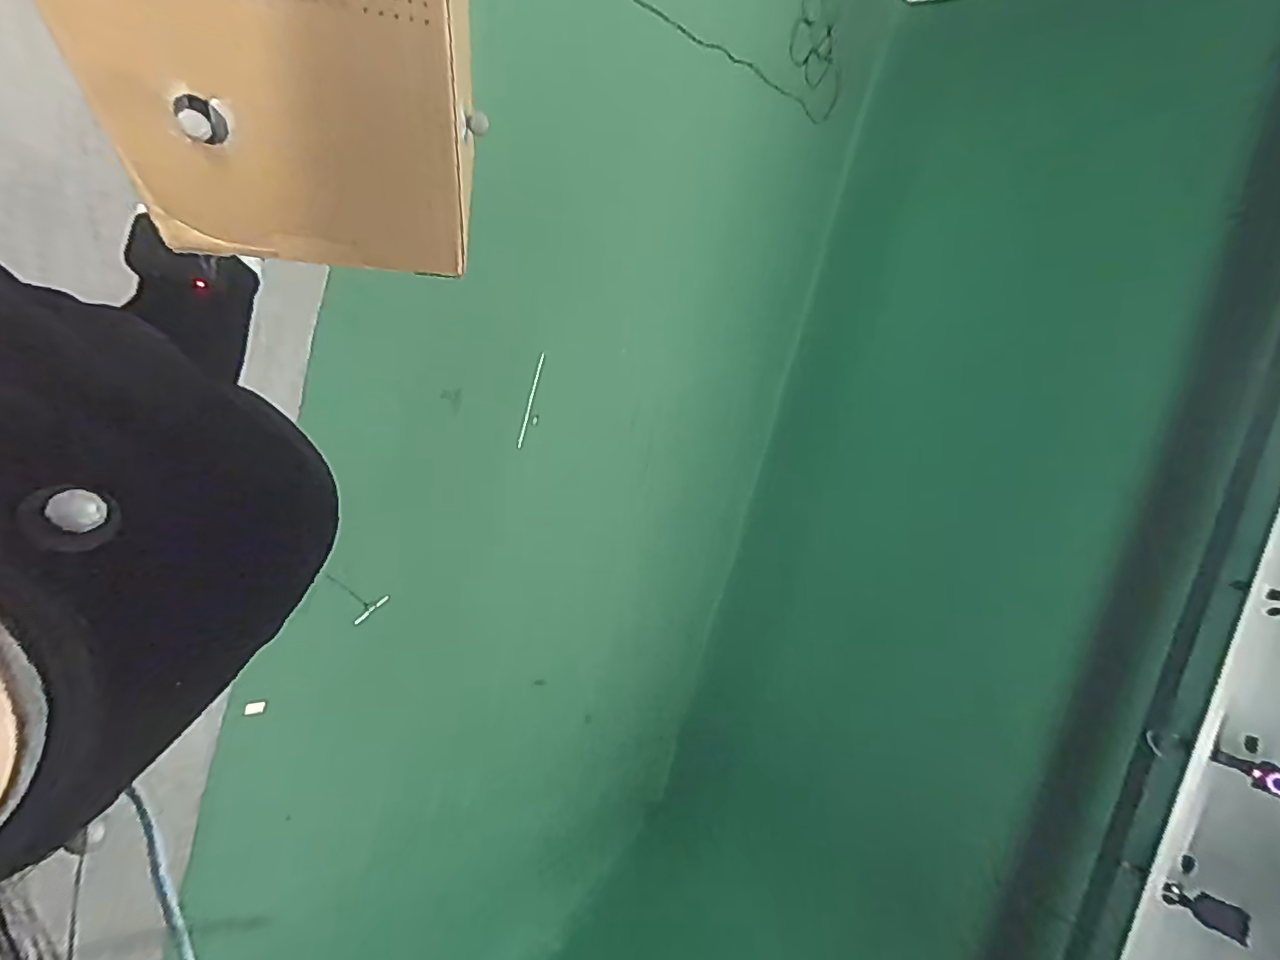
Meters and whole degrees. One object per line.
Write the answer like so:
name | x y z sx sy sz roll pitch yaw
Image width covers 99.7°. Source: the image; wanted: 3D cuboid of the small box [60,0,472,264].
small box | -0.188 -0.255 0.312 0.168 0.179 0.176 0 145 -15
